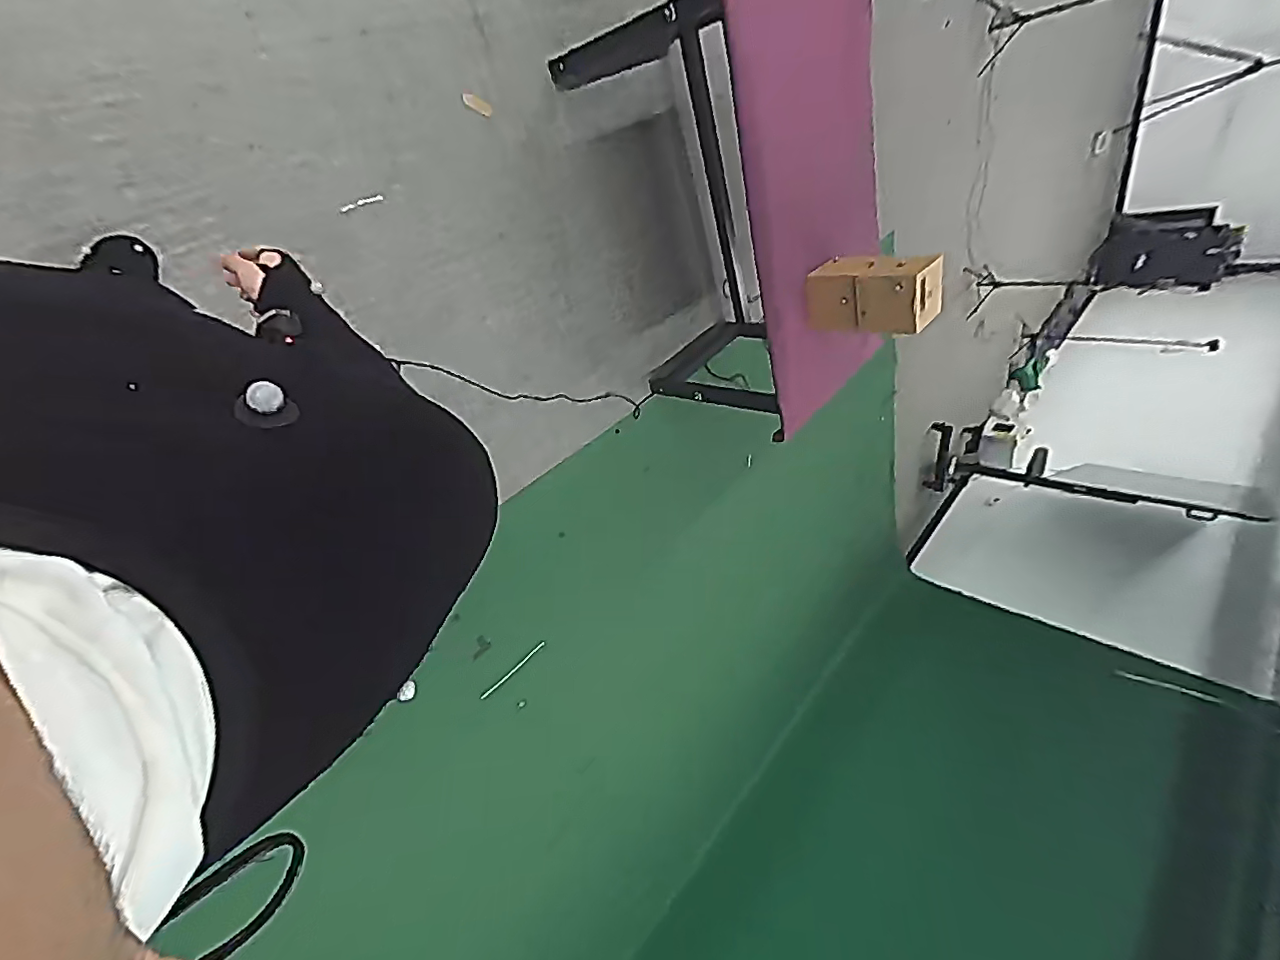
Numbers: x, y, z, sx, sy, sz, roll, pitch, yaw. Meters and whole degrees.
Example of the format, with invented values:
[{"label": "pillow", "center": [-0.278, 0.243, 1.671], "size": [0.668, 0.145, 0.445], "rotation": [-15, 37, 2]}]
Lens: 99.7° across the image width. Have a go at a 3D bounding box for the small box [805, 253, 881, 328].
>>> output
[{"label": "small box", "center": [0.624, -0.584, 1.667], "size": [0.168, 0.176, 0.179], "rotation": [-38, 128, -30]}]
